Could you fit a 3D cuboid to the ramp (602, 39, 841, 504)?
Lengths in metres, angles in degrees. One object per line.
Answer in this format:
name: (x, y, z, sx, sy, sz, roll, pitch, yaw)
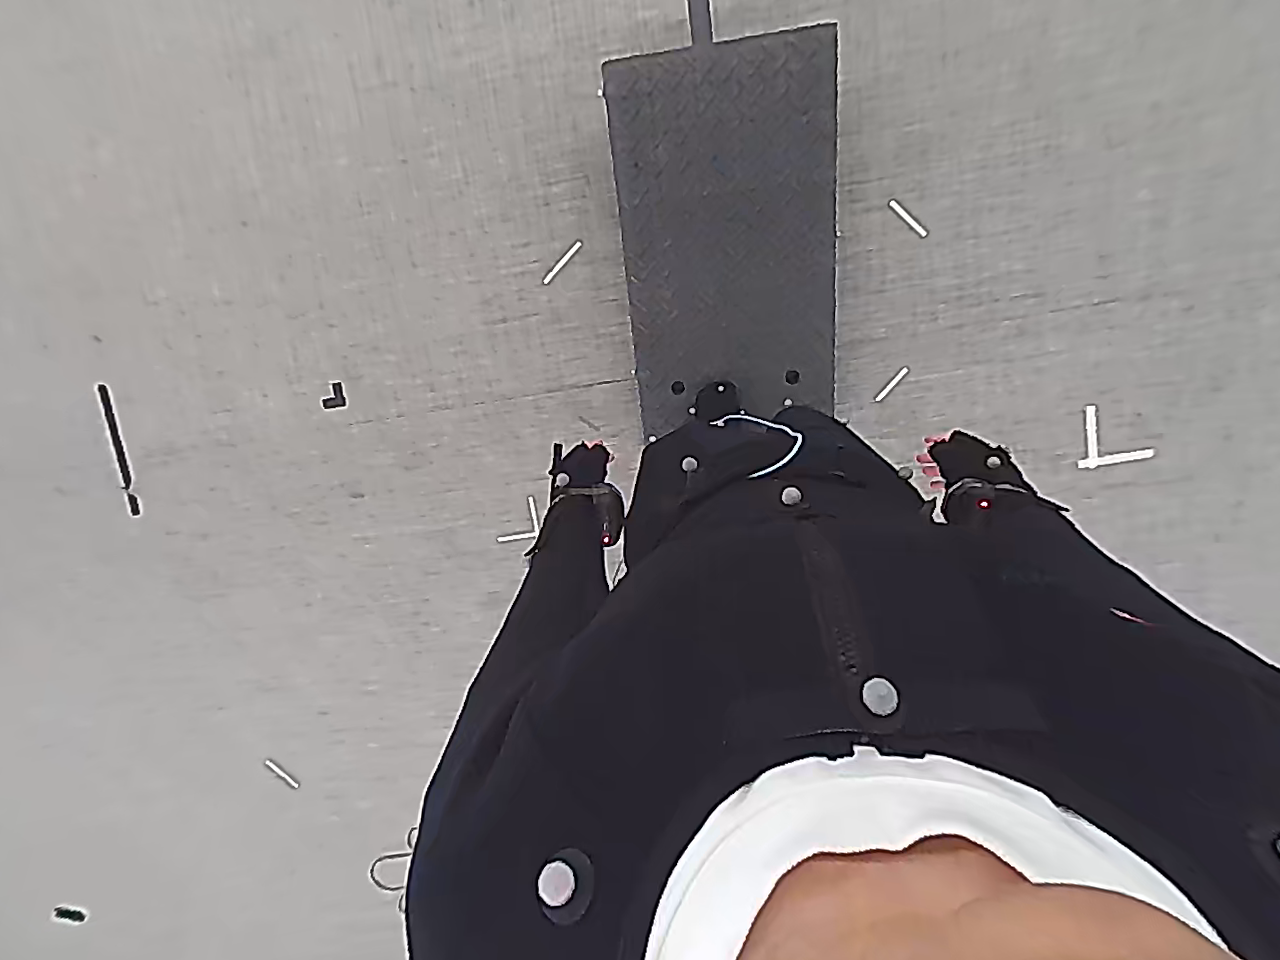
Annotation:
ramp: (0.228, -0.427, 1.313, 0.509, 0.206, 0.991, -8, 99, 7)
